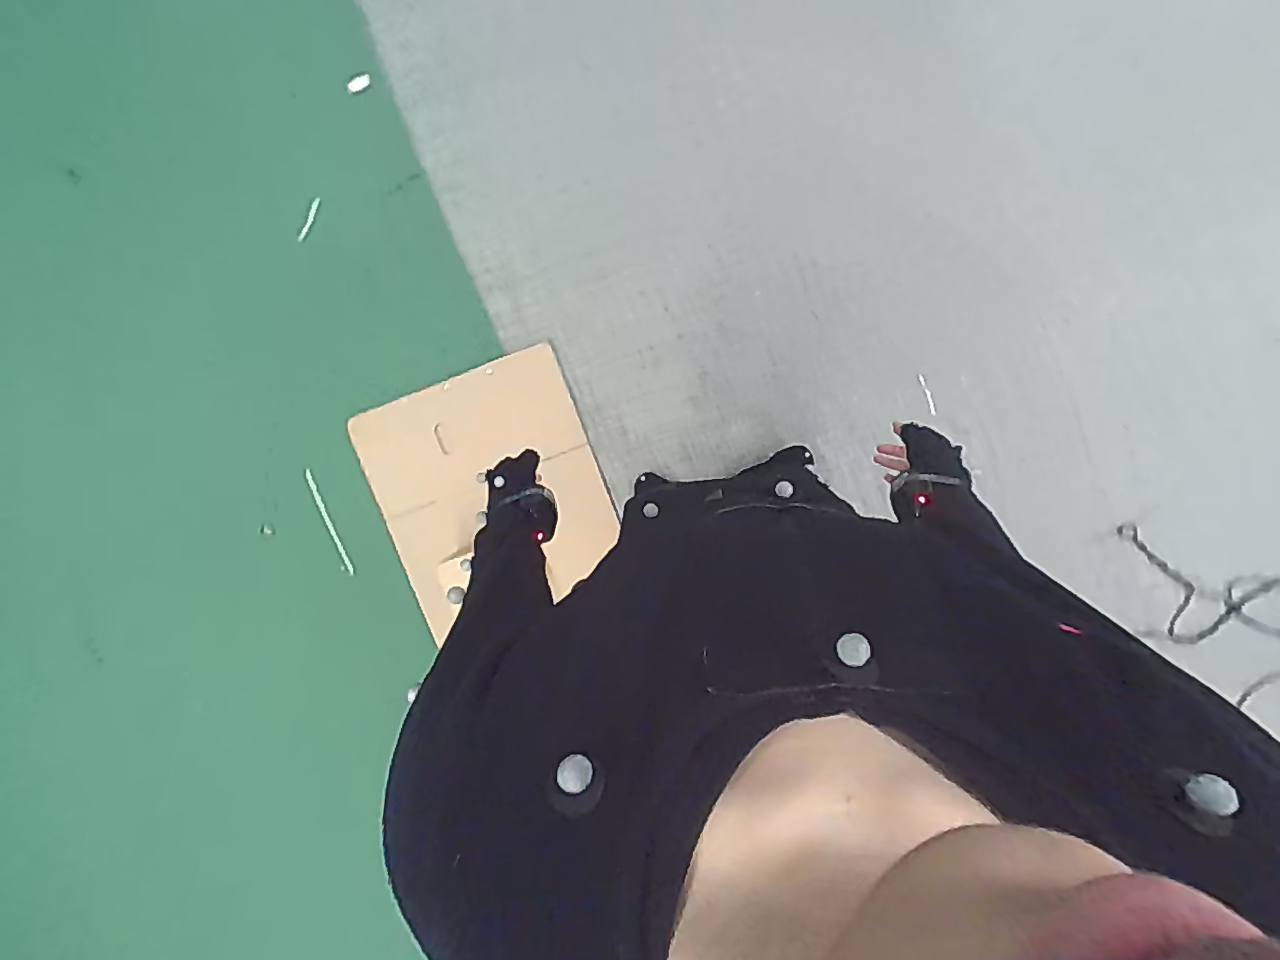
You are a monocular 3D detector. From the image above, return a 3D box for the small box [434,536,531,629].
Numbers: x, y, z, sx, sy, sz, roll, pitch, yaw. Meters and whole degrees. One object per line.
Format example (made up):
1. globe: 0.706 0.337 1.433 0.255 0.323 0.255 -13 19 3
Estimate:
1. small box: -0.395 0.258 1.404 0.179 0.176 0.168 -20 94 4
